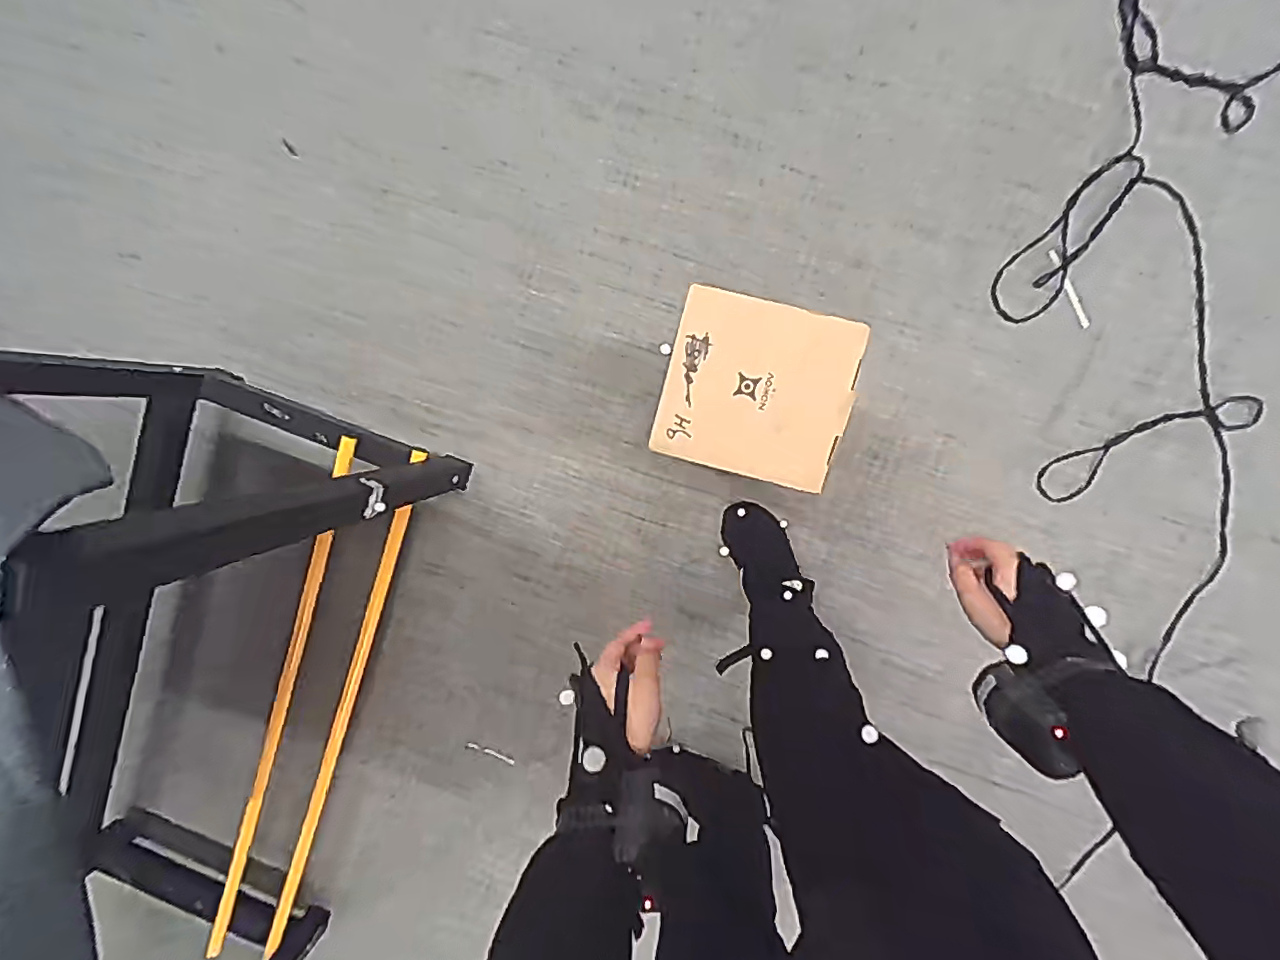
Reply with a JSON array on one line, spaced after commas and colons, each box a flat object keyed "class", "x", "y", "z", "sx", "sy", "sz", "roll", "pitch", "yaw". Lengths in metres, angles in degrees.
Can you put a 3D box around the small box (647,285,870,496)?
[{"class": "small box", "x": 0.118, "y": -0.094, "z": 0.595, "sx": 0.179, "sy": 0.176, "sz": 0.168, "roll": 16, "pitch": 98, "yaw": 4}]
